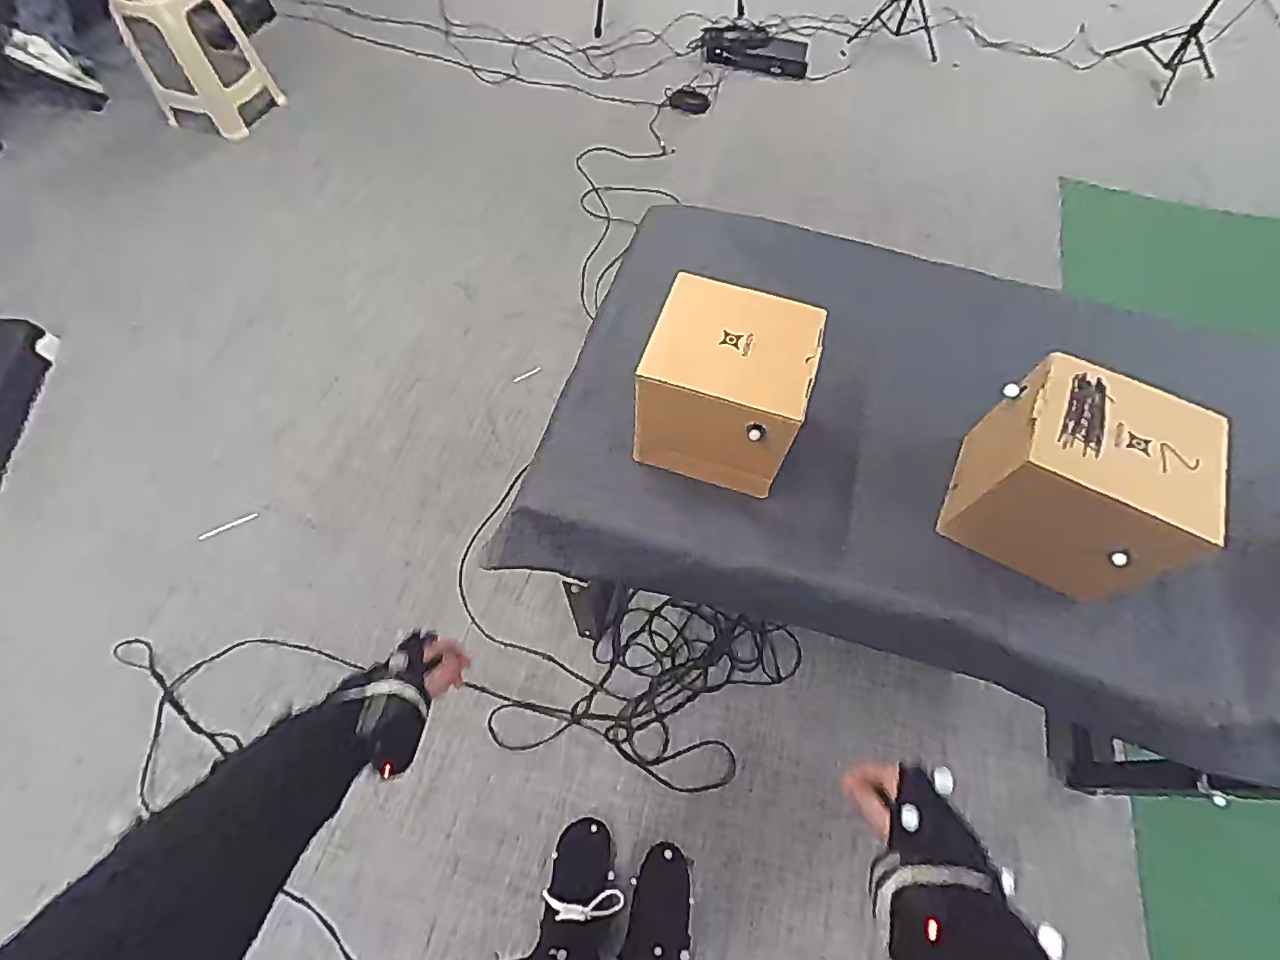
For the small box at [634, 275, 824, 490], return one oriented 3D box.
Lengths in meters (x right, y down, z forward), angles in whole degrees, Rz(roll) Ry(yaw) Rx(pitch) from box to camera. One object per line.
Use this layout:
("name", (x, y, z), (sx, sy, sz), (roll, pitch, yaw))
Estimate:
("small box", (0.097, -0.109, 0.648), (0.179, 0.176, 0.168), (17, 61, 7))
